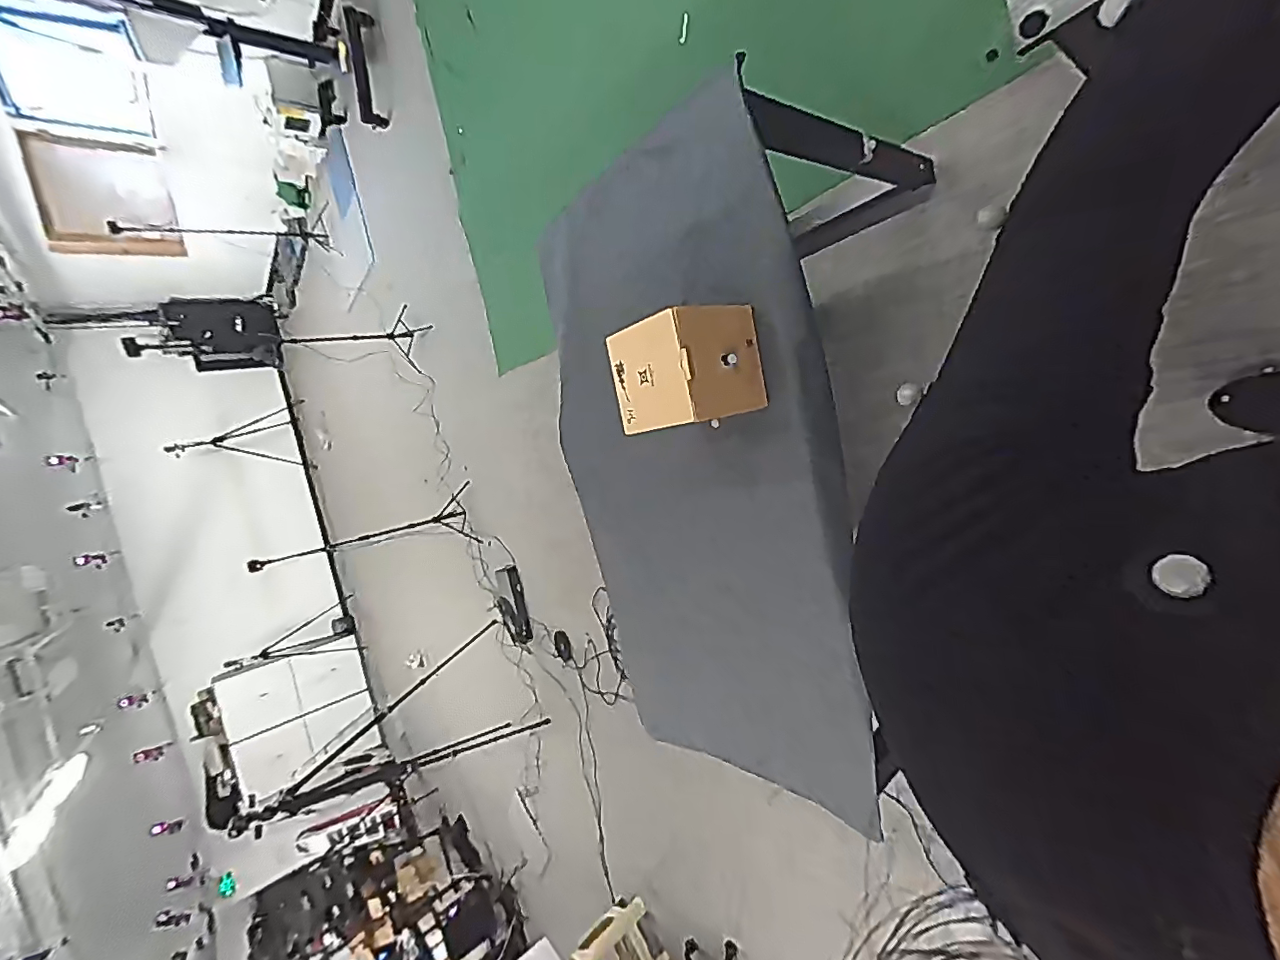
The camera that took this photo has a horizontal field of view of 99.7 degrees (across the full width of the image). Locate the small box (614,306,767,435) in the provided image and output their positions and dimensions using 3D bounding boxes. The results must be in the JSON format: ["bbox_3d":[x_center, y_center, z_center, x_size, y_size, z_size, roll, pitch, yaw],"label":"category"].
[{"bbox_3d":[0.087,-0.176,0.875,0.179,0.176,0.168,-5,99,53],"label":"small box"}]
